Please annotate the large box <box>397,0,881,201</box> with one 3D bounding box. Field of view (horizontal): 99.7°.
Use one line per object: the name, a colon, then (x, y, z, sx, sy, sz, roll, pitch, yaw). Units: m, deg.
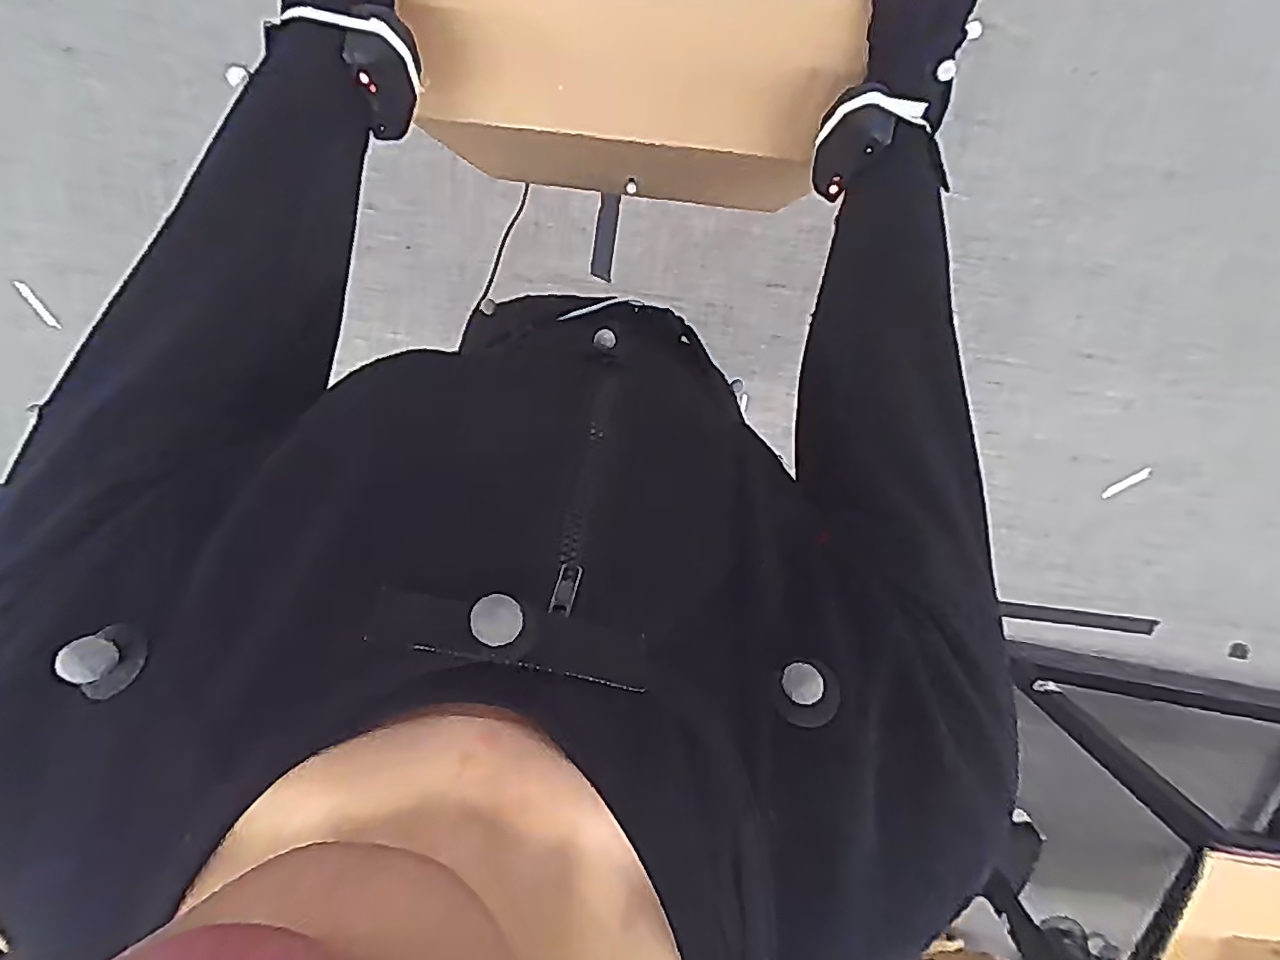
large box: (0.009, -0.497, 0.564, 0.408, 0.320, 0.320, 7, 109, -1)
